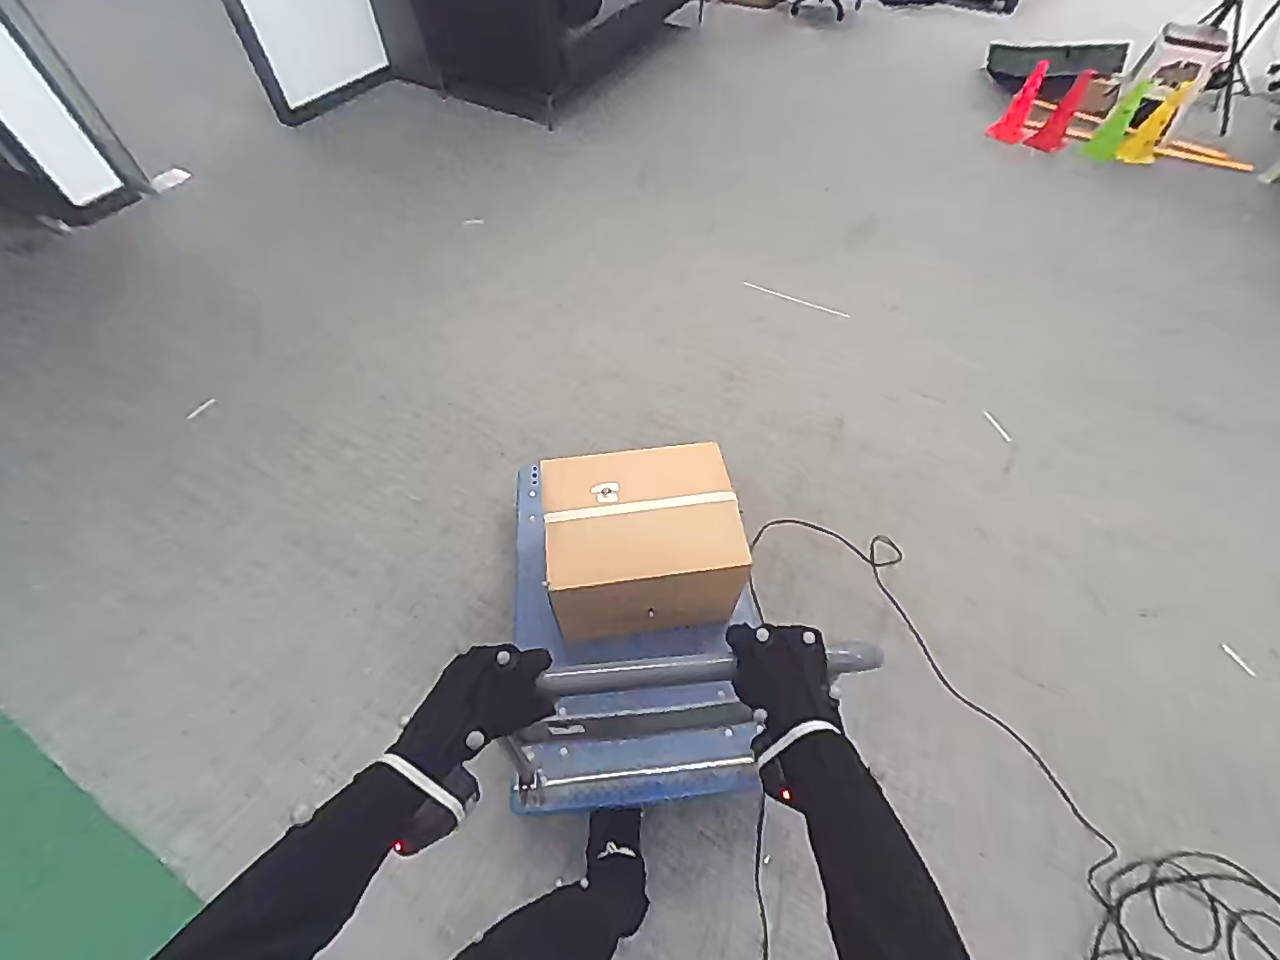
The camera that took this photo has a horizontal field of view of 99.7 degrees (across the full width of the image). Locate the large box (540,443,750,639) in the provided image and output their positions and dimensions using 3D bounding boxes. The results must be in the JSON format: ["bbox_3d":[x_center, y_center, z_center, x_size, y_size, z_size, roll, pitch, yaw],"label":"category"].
[{"bbox_3d":[-0.001,0.148,1.253,0.408,0.320,0.320,-7,55,-6],"label":"large box"}]
